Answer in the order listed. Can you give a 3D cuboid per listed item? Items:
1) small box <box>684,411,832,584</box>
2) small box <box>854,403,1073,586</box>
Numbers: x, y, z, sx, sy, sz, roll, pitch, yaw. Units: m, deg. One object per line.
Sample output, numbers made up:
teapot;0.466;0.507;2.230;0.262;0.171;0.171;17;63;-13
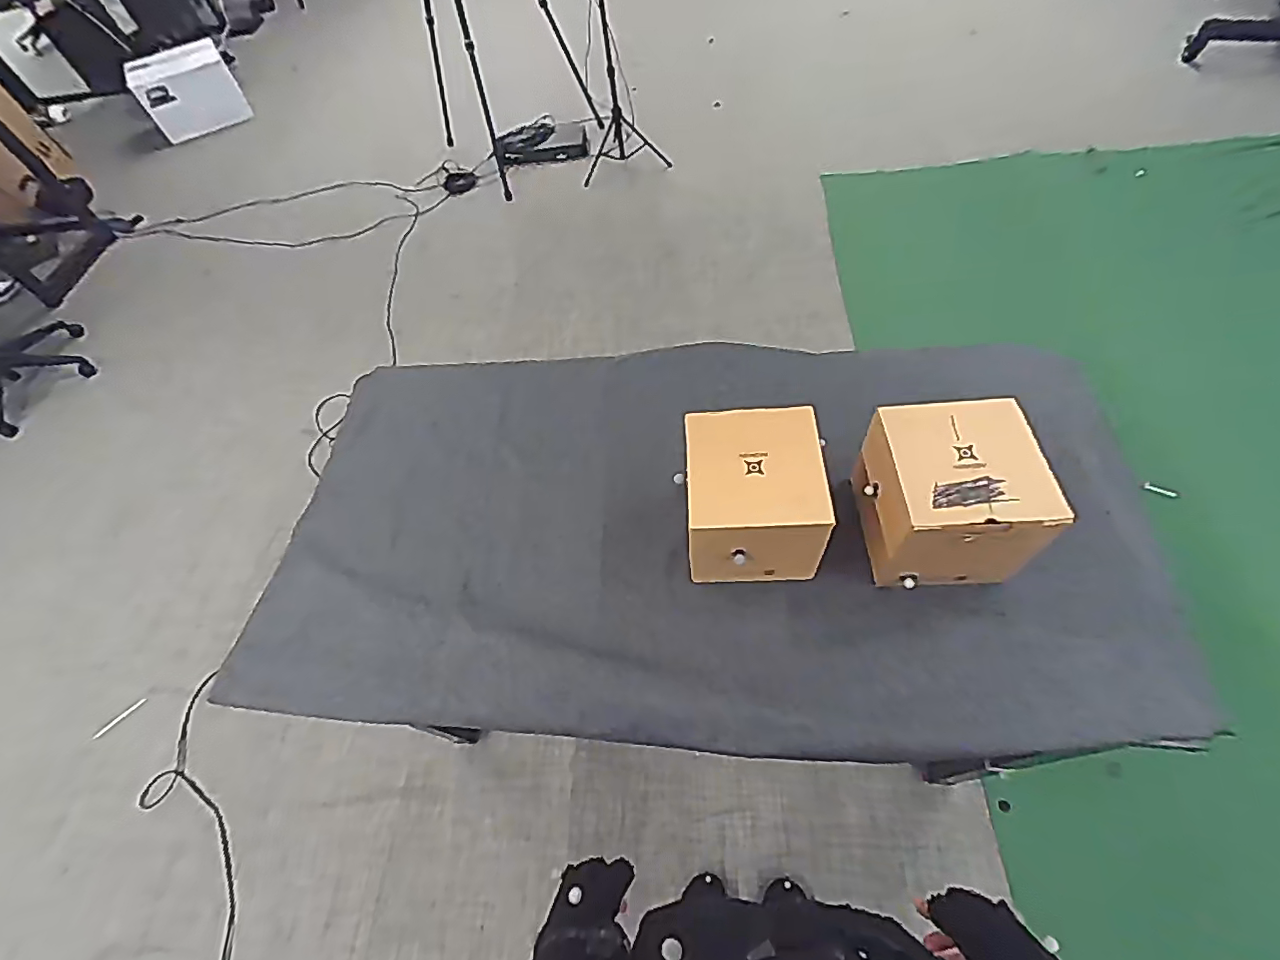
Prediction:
small box;0.147;0.031;0.718;0.168;0.176;0.179;-3;56;6
small box;0.384;0.026;0.684;0.168;0.176;0.179;-3;55;6
